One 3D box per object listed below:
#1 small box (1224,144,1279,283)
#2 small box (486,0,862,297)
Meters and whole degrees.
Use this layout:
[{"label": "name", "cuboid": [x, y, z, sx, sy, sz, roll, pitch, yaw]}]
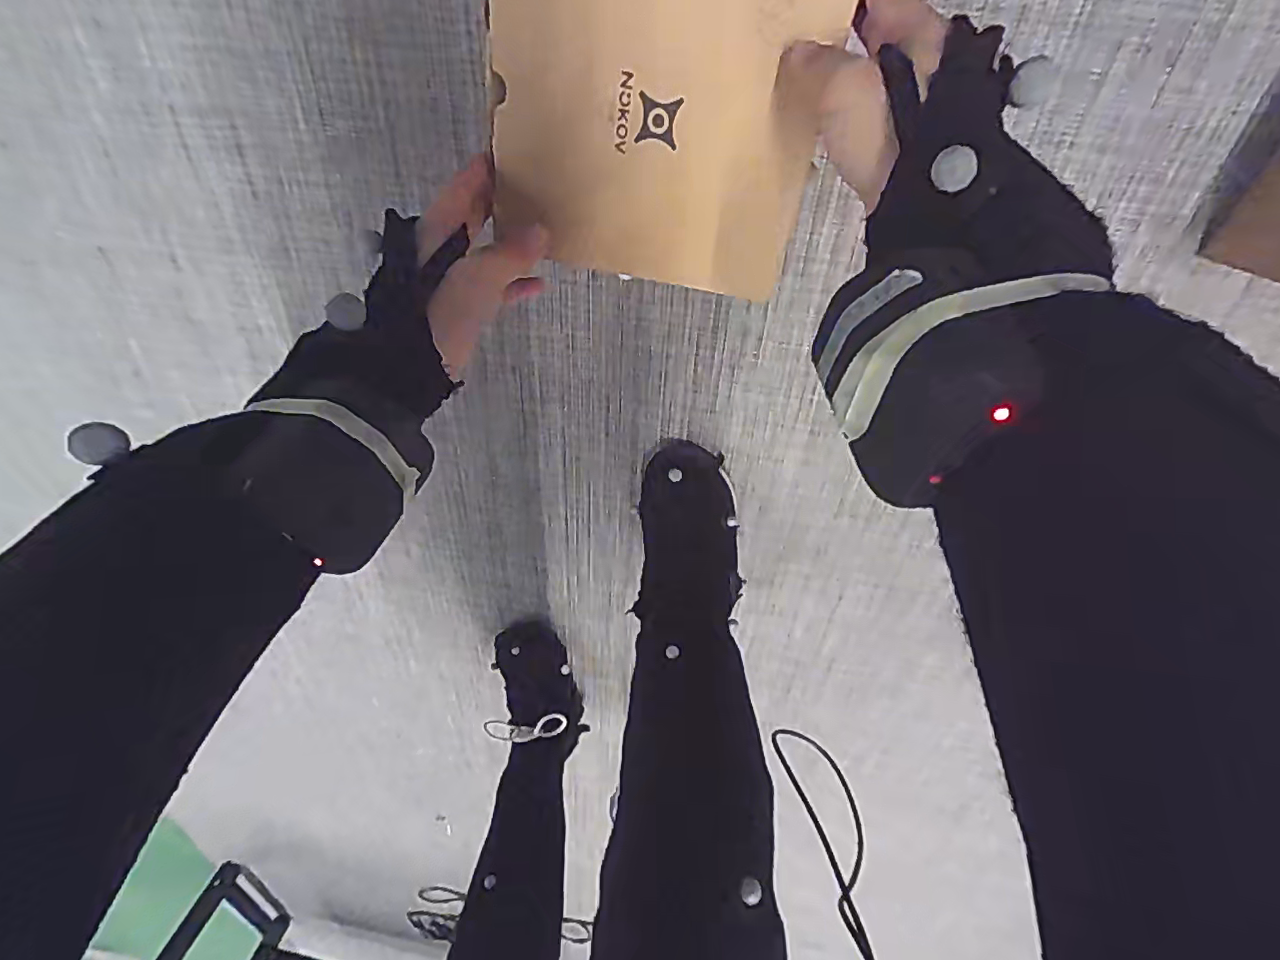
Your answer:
[{"label": "small box", "cuboid": [0.524, -0.183, 0.316, 0.168, 0.176, 0.179, 13, 125, 2]}, {"label": "small box", "cuboid": [0.018, -0.239, 0.340, 0.179, 0.176, 0.168, 13, 130, 2]}]
